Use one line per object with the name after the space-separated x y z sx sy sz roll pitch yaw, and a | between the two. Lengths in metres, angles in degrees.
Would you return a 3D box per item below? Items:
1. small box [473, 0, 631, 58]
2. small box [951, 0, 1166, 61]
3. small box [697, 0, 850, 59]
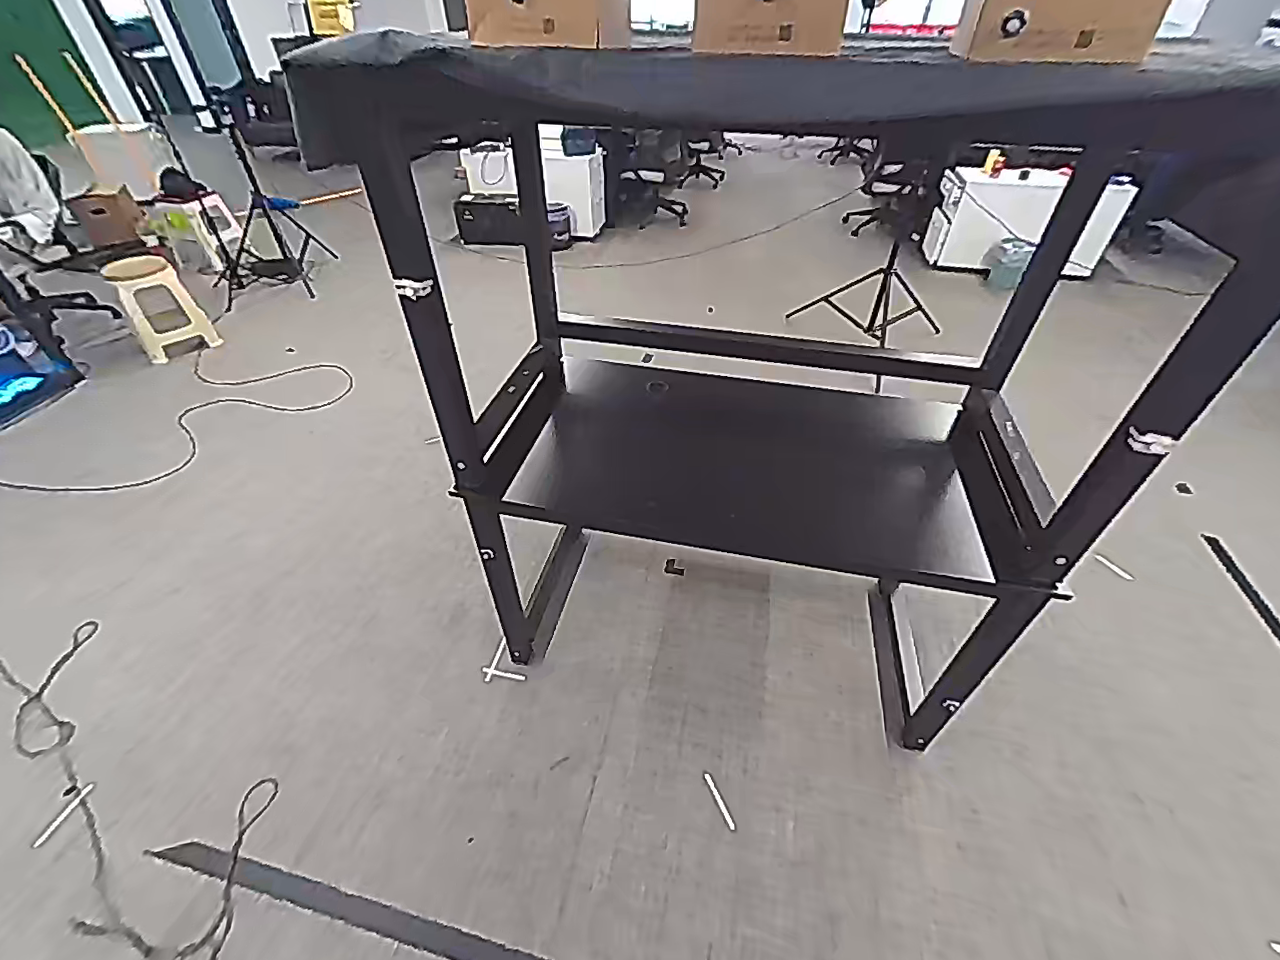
-0.105 -0.632 0.661 0.168 0.176 0.179 9 41 8 | small box
0.454 -0.552 0.571 0.168 0.176 0.179 11 41 13 | small box
0.161 -0.594 0.617 0.168 0.176 0.179 9 40 11 | small box
